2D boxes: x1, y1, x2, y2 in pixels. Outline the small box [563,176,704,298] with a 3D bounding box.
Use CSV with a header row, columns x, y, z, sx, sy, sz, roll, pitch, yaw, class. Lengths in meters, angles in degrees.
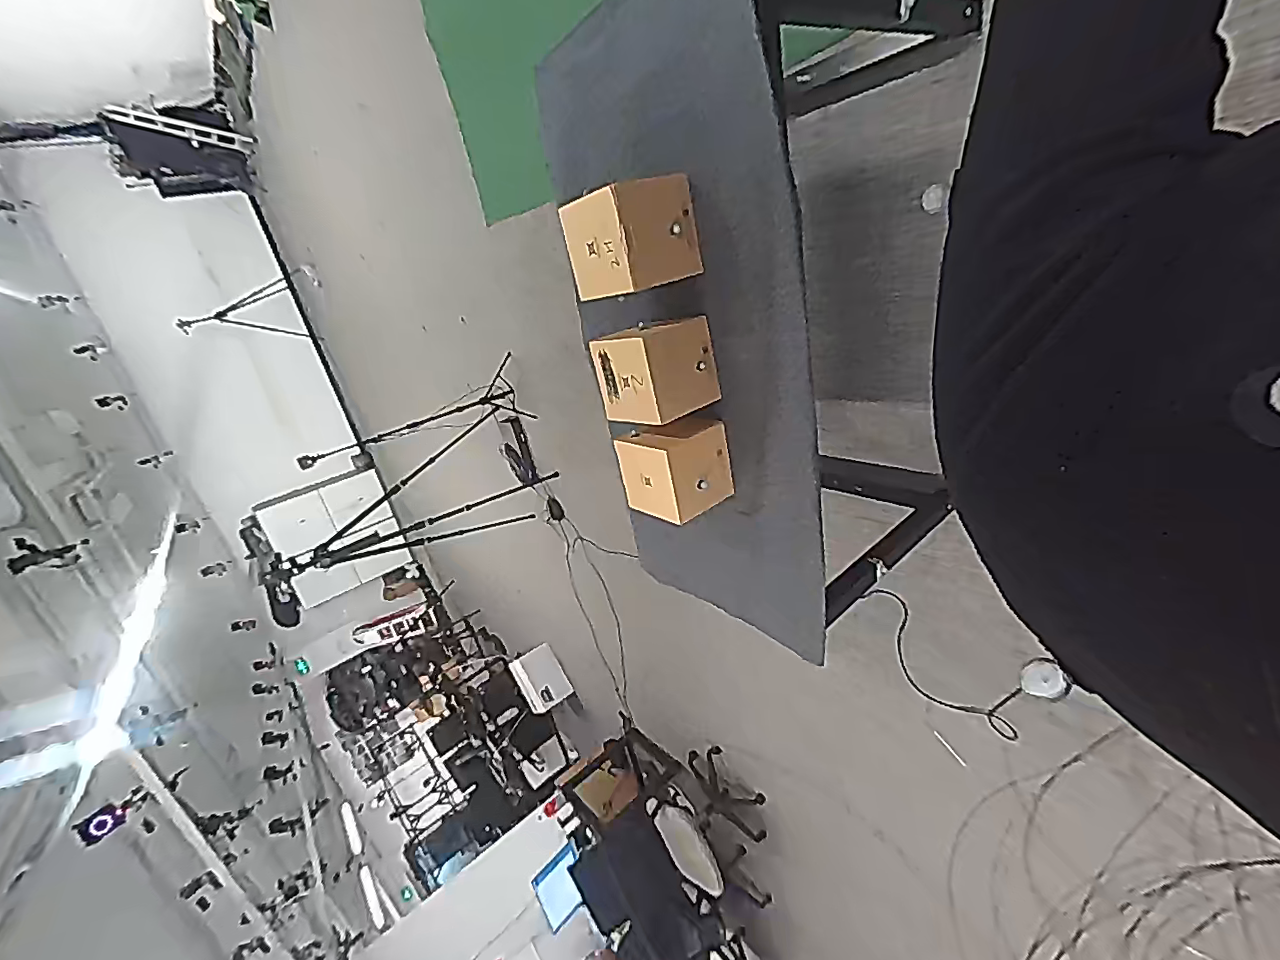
x,y,z,sx,sy,sz,roll,pitch,yaw,class
-0.009,-0.438,0.985,0.179,0.176,0.168,15,125,51,small box
